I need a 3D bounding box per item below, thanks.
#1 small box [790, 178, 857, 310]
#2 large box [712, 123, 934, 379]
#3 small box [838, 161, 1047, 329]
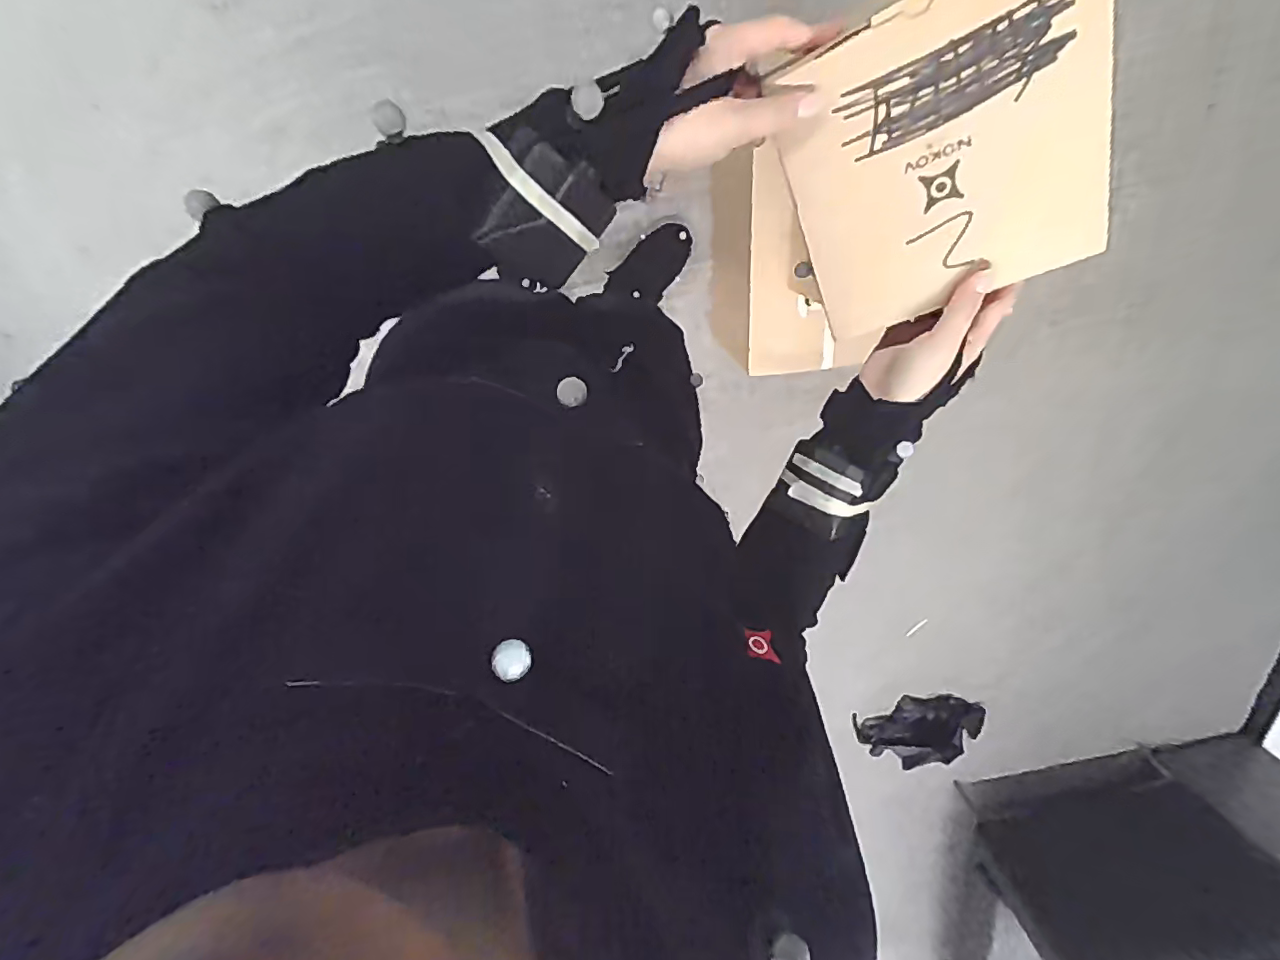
[{"bbox_3d":[0.348,-0.382,0.863,0.168,0.176,0.179,-7,118,-5],"label":"small box"},{"bbox_3d":[0.333,-0.461,1.095,0.320,0.320,0.408,-7,120,-2],"label":"large box"},{"bbox_3d":[0.380,-0.313,0.718,0.168,0.176,0.179,-7,119,-4],"label":"small box"}]
